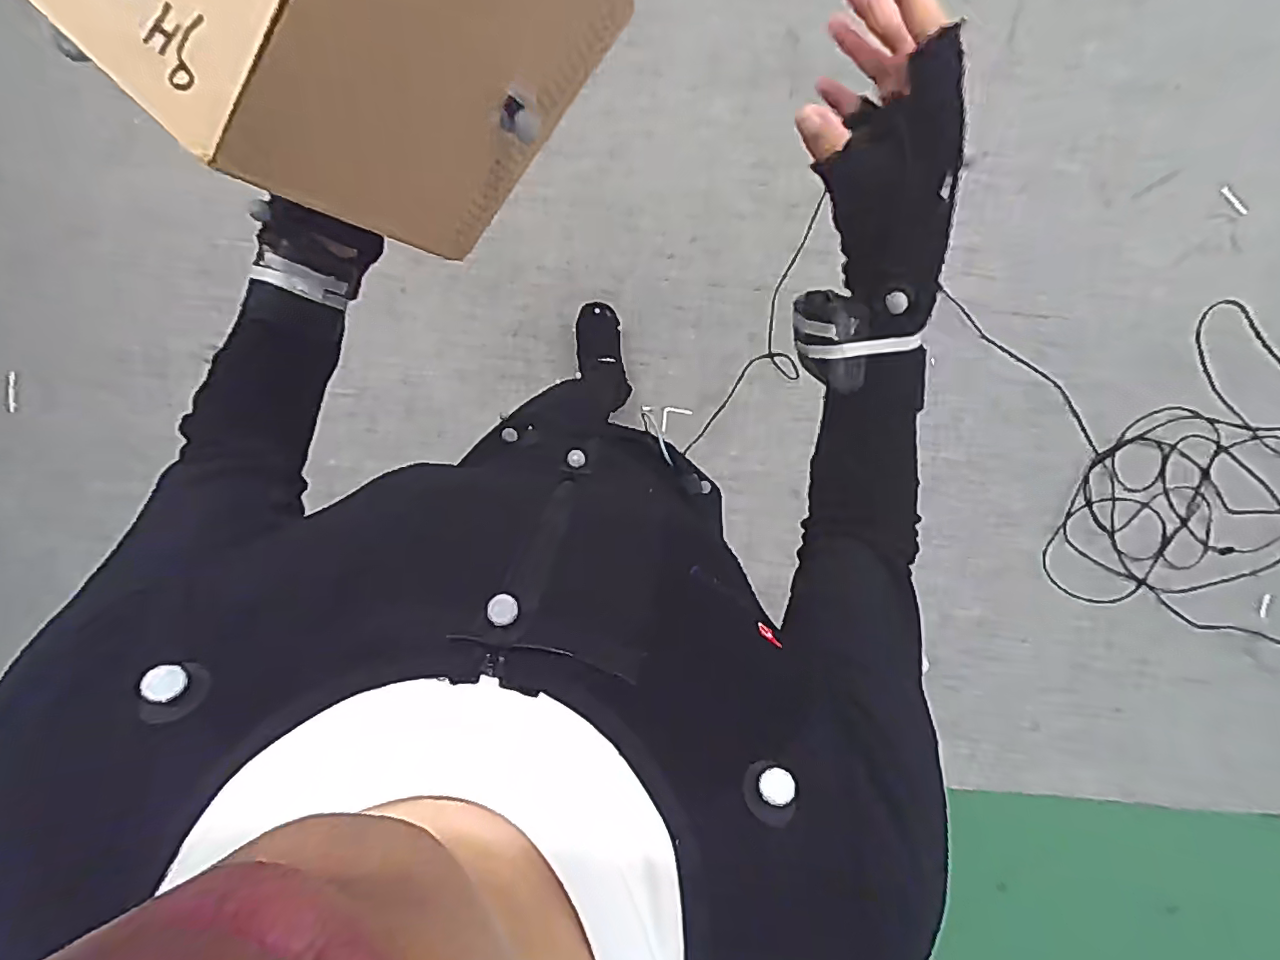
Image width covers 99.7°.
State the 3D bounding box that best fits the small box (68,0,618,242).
[{"bbox_3d":[-0.127,-0.243,0.238,0.168,0.176,0.179,45,106,2],"label":"small box"}]
